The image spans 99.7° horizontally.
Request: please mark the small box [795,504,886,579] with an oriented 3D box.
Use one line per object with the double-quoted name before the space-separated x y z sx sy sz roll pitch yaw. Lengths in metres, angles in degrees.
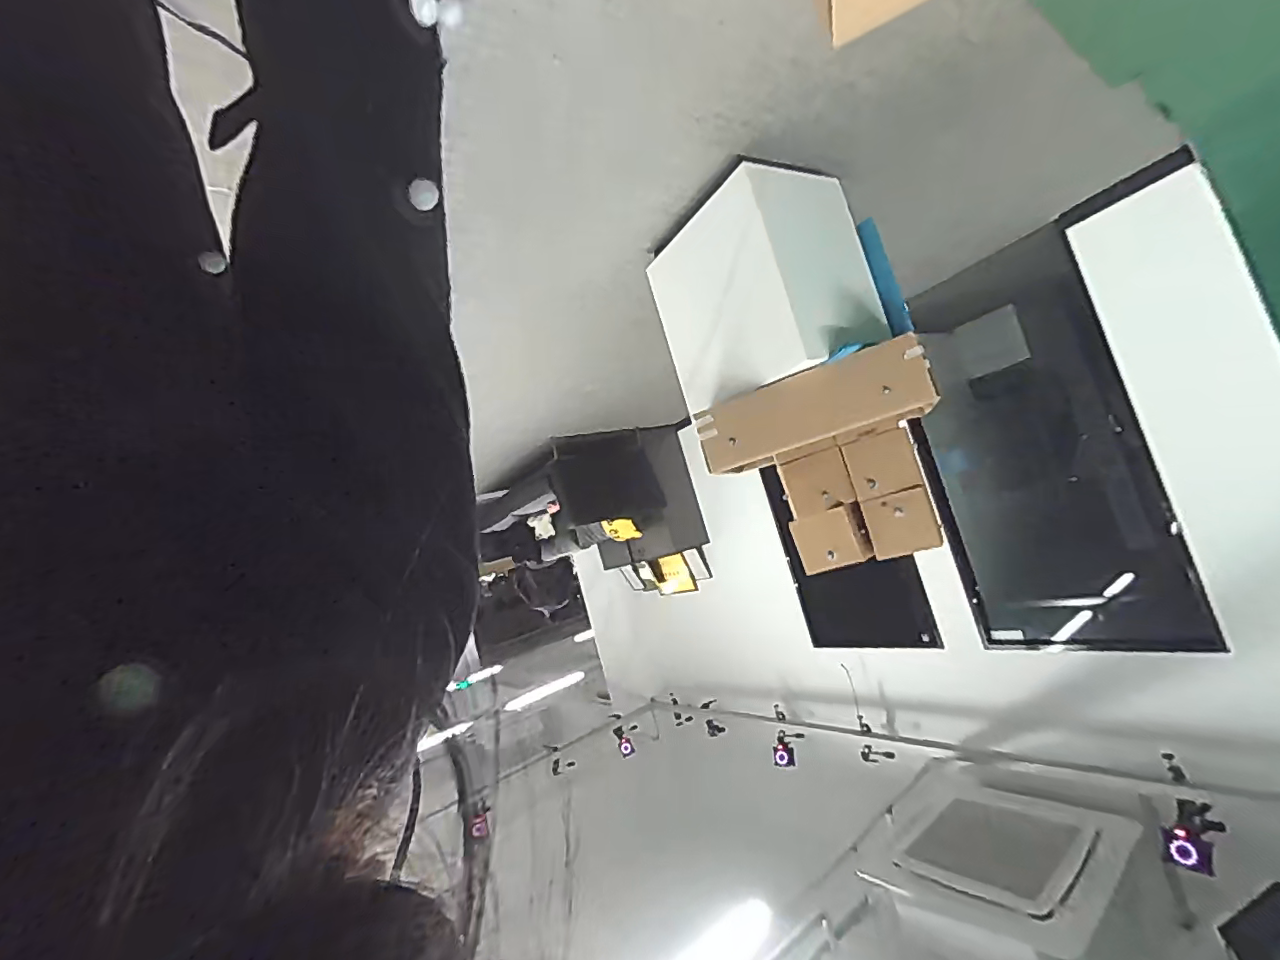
"small box" 0.586 0.172 1.581 0.179 0.176 0.168 -26 169 37
